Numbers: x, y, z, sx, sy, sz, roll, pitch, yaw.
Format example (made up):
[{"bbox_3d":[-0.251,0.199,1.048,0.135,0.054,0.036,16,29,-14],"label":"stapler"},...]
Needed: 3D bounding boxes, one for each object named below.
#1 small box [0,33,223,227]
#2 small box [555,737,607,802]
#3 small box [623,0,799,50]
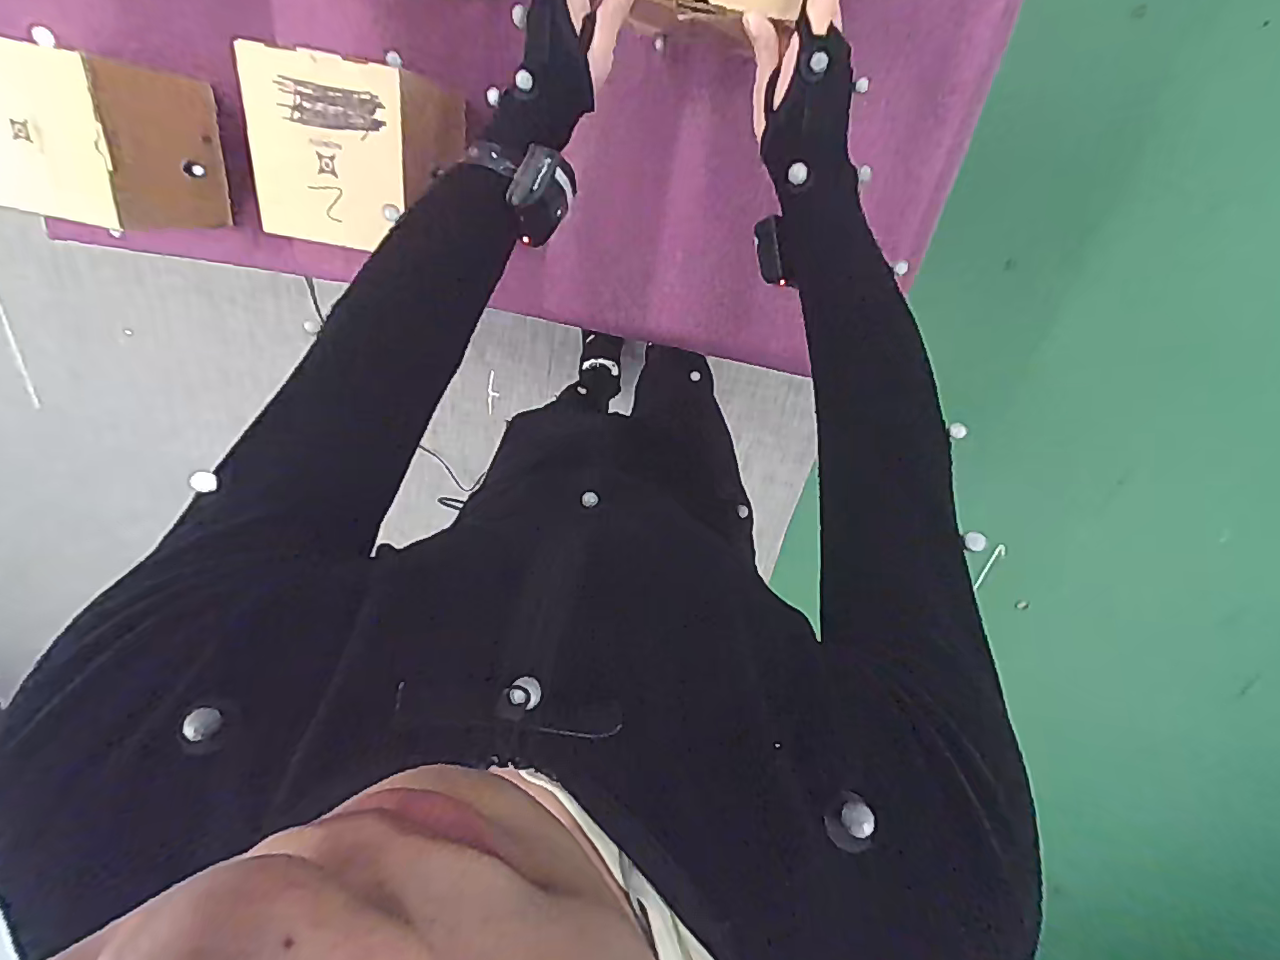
[{"bbox_3d":[-0.650,-0.404,0.639,0.179,0.176,0.168,11,117,0],"label":"small box"},{"bbox_3d":[-0.246,1.217,2.278,0.179,0.176,0.168,14,118,-2],"label":"small box"},{"bbox_3d":[0.074,-0.500,0.462,0.168,0.176,0.179,14,120,3],"label":"small box"}]
